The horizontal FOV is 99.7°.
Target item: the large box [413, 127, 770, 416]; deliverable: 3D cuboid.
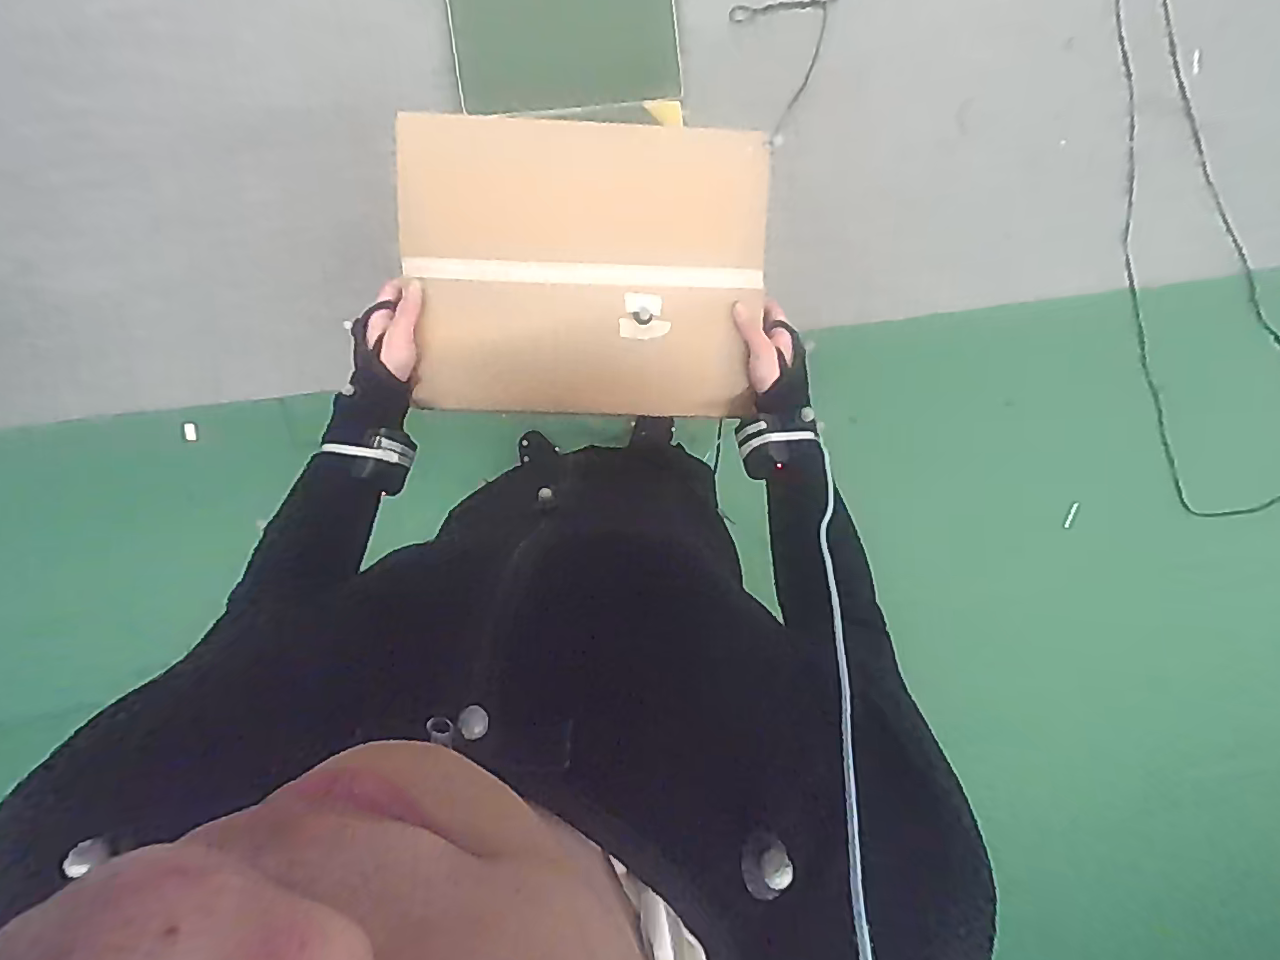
[{"bbox_3d":[-0.062,-0.254,0.768,0.408,0.320,0.320,1,100,-3],"label":"large box"}]
